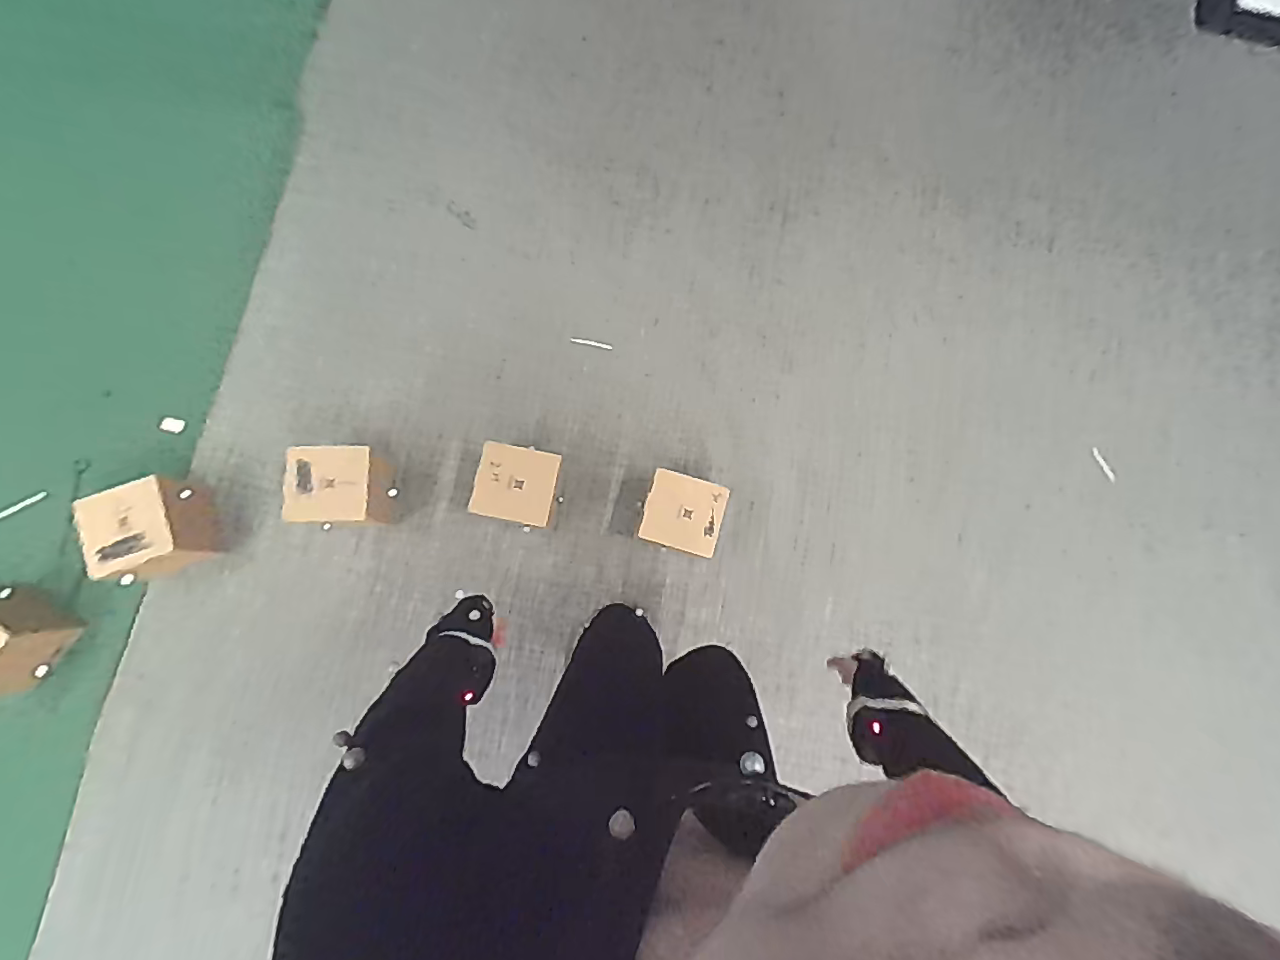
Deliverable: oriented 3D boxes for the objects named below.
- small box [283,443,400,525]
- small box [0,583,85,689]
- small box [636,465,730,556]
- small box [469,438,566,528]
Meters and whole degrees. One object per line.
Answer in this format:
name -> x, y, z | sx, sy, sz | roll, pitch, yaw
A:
small box -> -0.673, 0.014, 1.235 | 0.179, 0.176, 0.168 | 0, 81, -5
small box -> -1.365, 0.331, 1.140 | 0.179, 0.176, 0.168 | 35, 80, 3
small box -> 0.093, 0.079, 1.275 | 0.179, 0.176, 0.168 | 17, 80, 0
small box -> -0.276, 0.015, 1.261 | 0.179, 0.176, 0.168 | 12, 79, -2
